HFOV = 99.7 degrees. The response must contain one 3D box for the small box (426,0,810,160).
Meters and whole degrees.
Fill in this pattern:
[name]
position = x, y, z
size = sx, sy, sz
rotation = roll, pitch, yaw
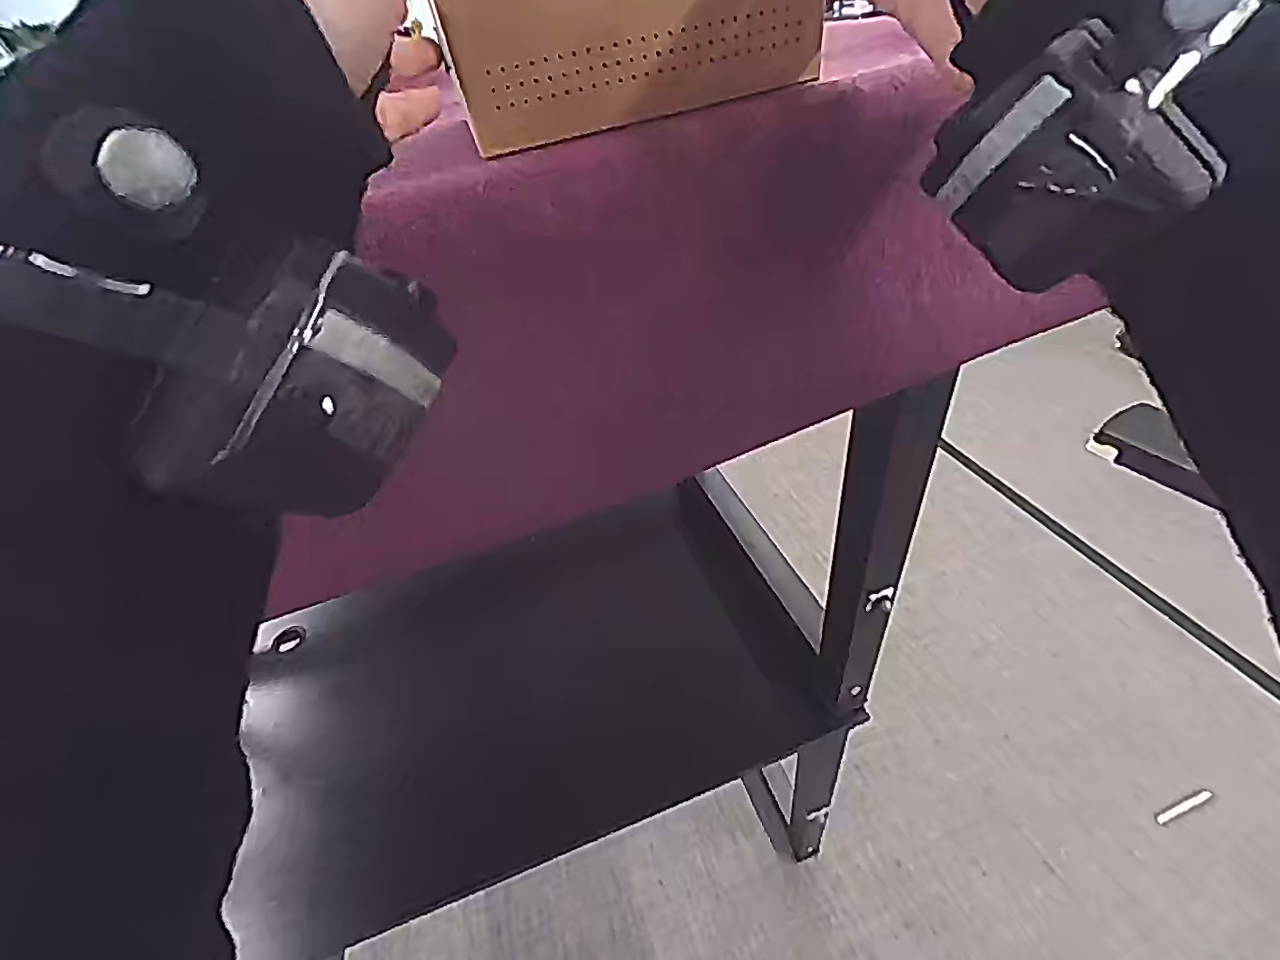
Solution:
[small box]
position = -0.025, -0.279, 0.262
size = 0.179, 0.176, 0.168
rotation = -18, 41, -6
